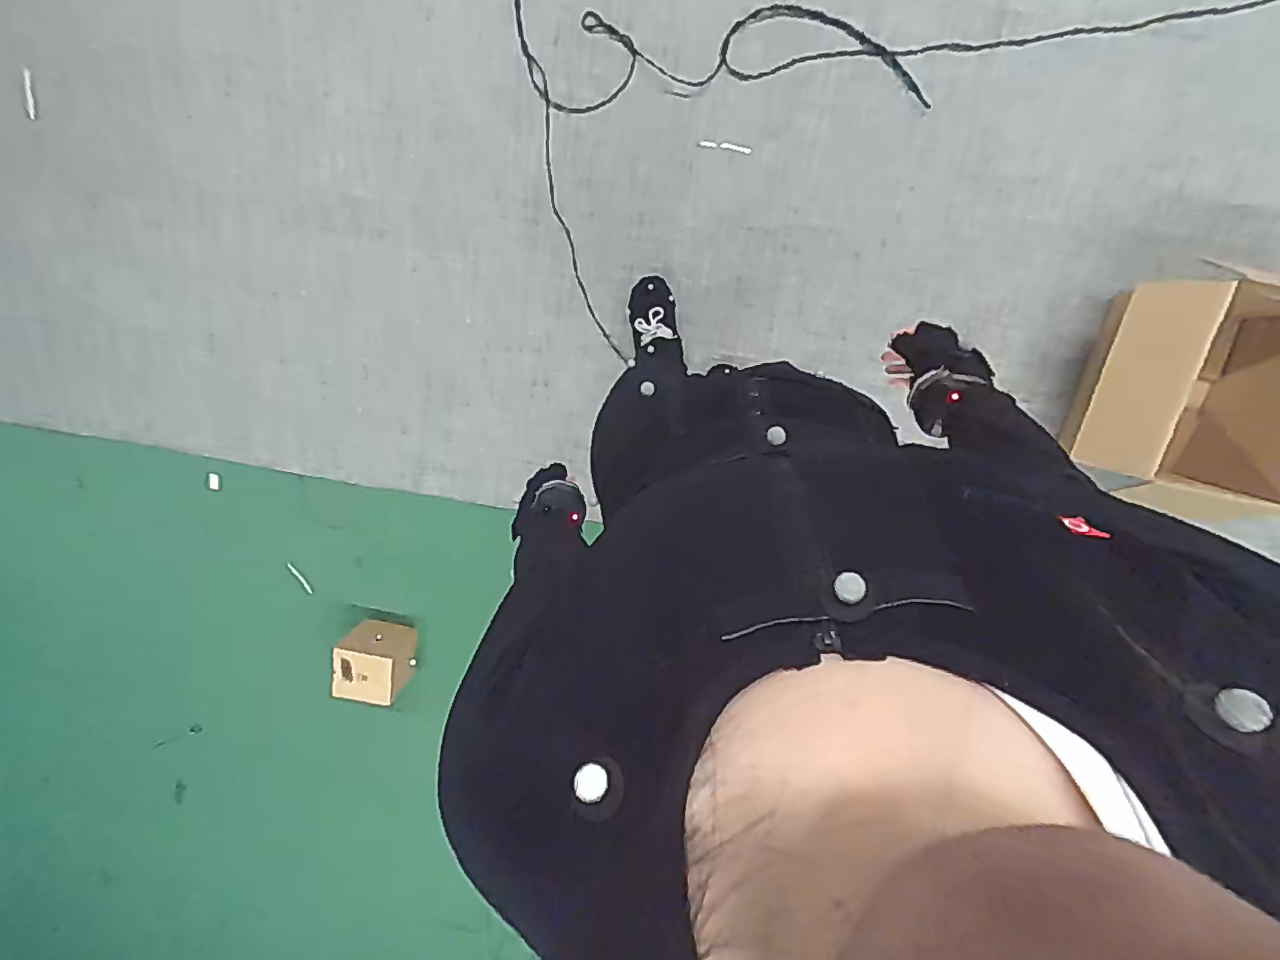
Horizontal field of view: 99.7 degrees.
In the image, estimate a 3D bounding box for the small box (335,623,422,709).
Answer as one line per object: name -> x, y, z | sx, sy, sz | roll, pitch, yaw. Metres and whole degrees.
small box -> -0.785, 0.554, 1.632 | 0.179, 0.176, 0.168 | 11, 106, 1
